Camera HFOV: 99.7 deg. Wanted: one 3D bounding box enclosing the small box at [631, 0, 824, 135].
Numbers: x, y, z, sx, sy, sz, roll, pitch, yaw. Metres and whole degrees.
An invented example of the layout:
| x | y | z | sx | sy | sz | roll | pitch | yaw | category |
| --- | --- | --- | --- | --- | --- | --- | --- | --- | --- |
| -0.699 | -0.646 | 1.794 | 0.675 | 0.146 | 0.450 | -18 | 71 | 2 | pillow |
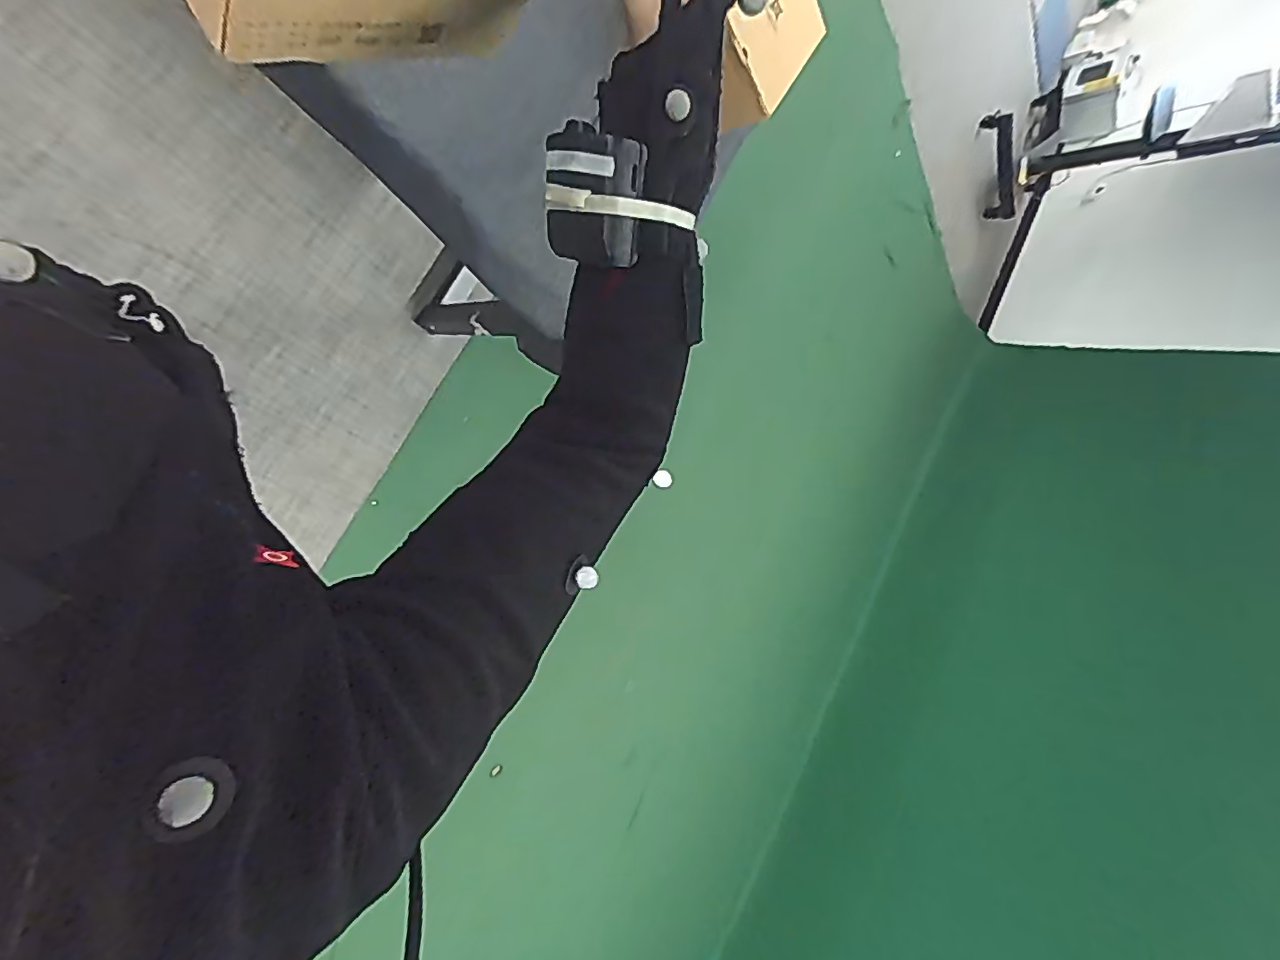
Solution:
| x | y | z | sx | sy | sz | roll | pitch | yaw | category |
| --- | --- | --- | --- | --- | --- | --- | --- | --- | --- |
| 0.118 | -0.623 | 0.747 | 0.168 | 0.176 | 0.179 | 41 | 76 | -42 | small box |

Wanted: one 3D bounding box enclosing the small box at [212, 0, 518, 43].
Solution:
| x | y | z | sx | sy | sz | roll | pitch | yaw | category |
| --- | --- | --- | --- | --- | --- | --- | --- | --- | --- |
| -0.125 | -0.314 | 0.212 | 0.168 | 0.176 | 0.179 | -39 | 109 | -37 | small box |
